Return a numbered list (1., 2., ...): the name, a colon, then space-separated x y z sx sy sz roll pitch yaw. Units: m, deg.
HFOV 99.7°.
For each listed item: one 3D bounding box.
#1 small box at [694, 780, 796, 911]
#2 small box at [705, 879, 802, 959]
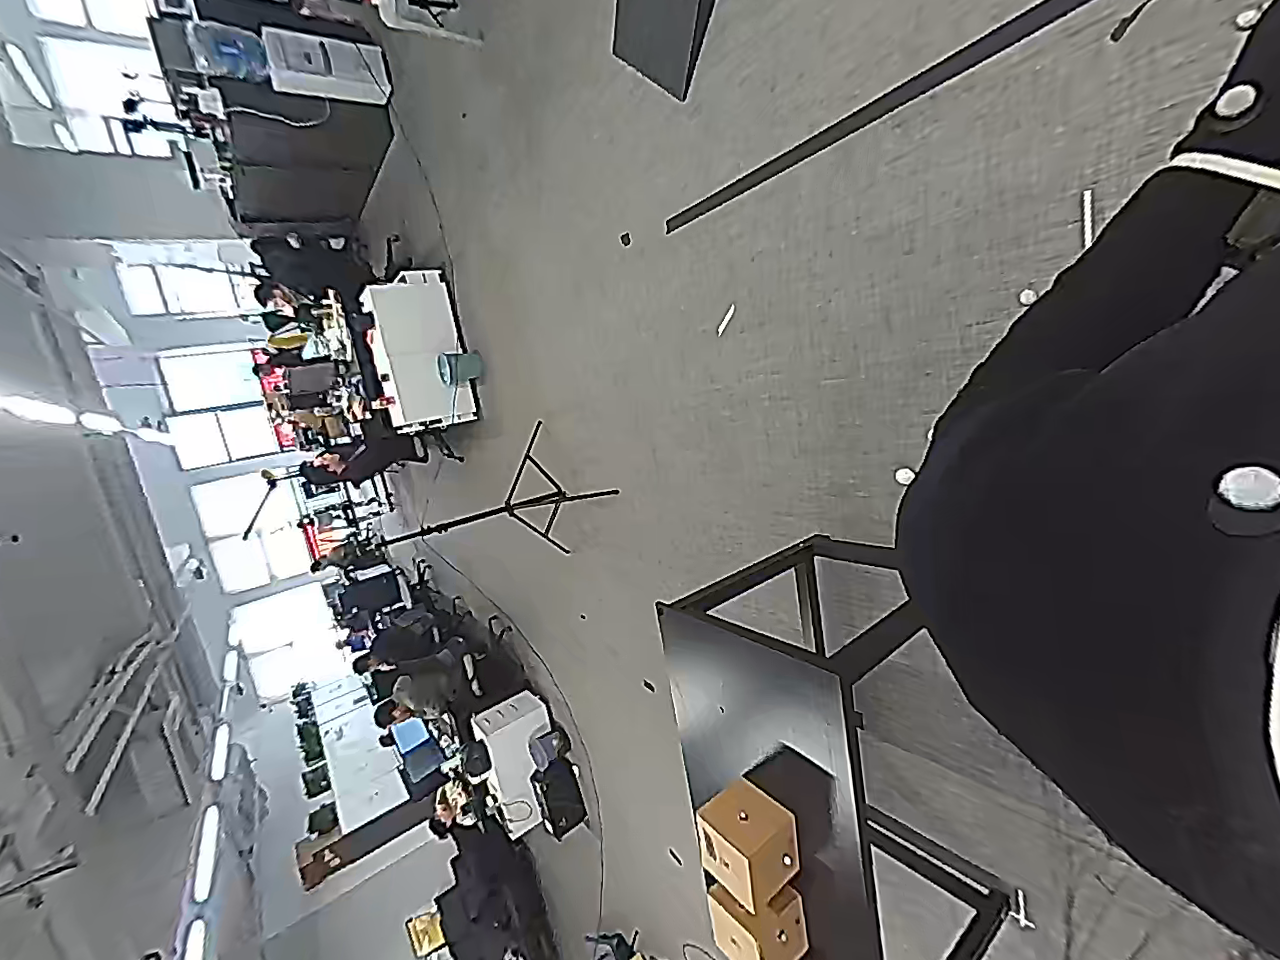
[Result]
1. small box: 0.256 0.875 1.320 0.179 0.176 0.168 10 113 52
2. small box: 0.294 1.115 1.378 0.179 0.176 0.168 4 107 55
